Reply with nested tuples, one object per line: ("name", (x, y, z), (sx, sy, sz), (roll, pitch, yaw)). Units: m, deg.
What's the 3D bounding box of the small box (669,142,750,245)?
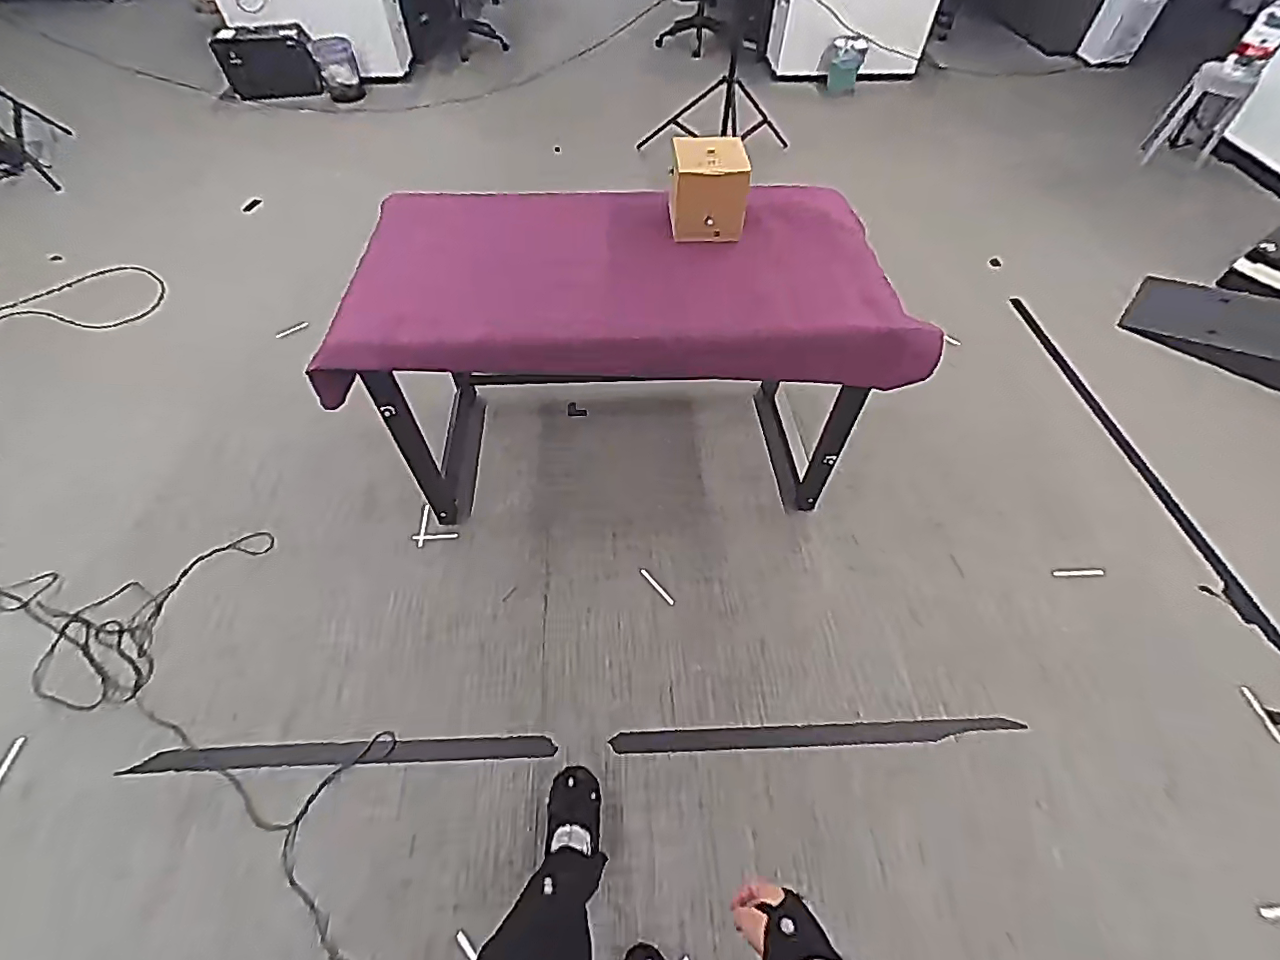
("small box", (0.161, -0.698, 1.320), (0.168, 0.176, 0.179), (-2, 55, -2))
